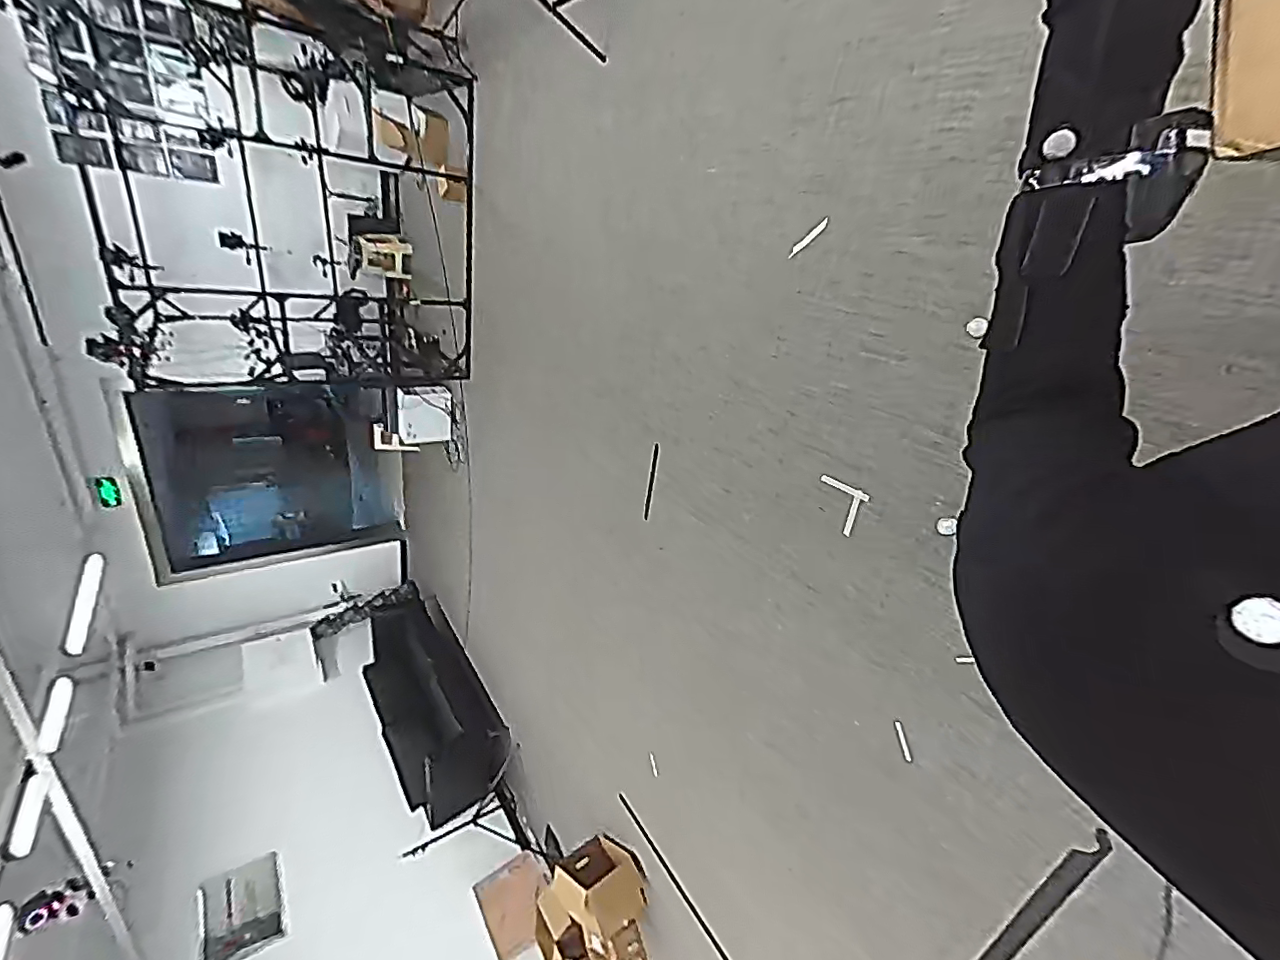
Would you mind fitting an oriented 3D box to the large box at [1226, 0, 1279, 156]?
[{"bbox_3d":[0.535,-0.367,0.200,0.408,0.320,0.320,6,114,54],"label":"large box"}]
